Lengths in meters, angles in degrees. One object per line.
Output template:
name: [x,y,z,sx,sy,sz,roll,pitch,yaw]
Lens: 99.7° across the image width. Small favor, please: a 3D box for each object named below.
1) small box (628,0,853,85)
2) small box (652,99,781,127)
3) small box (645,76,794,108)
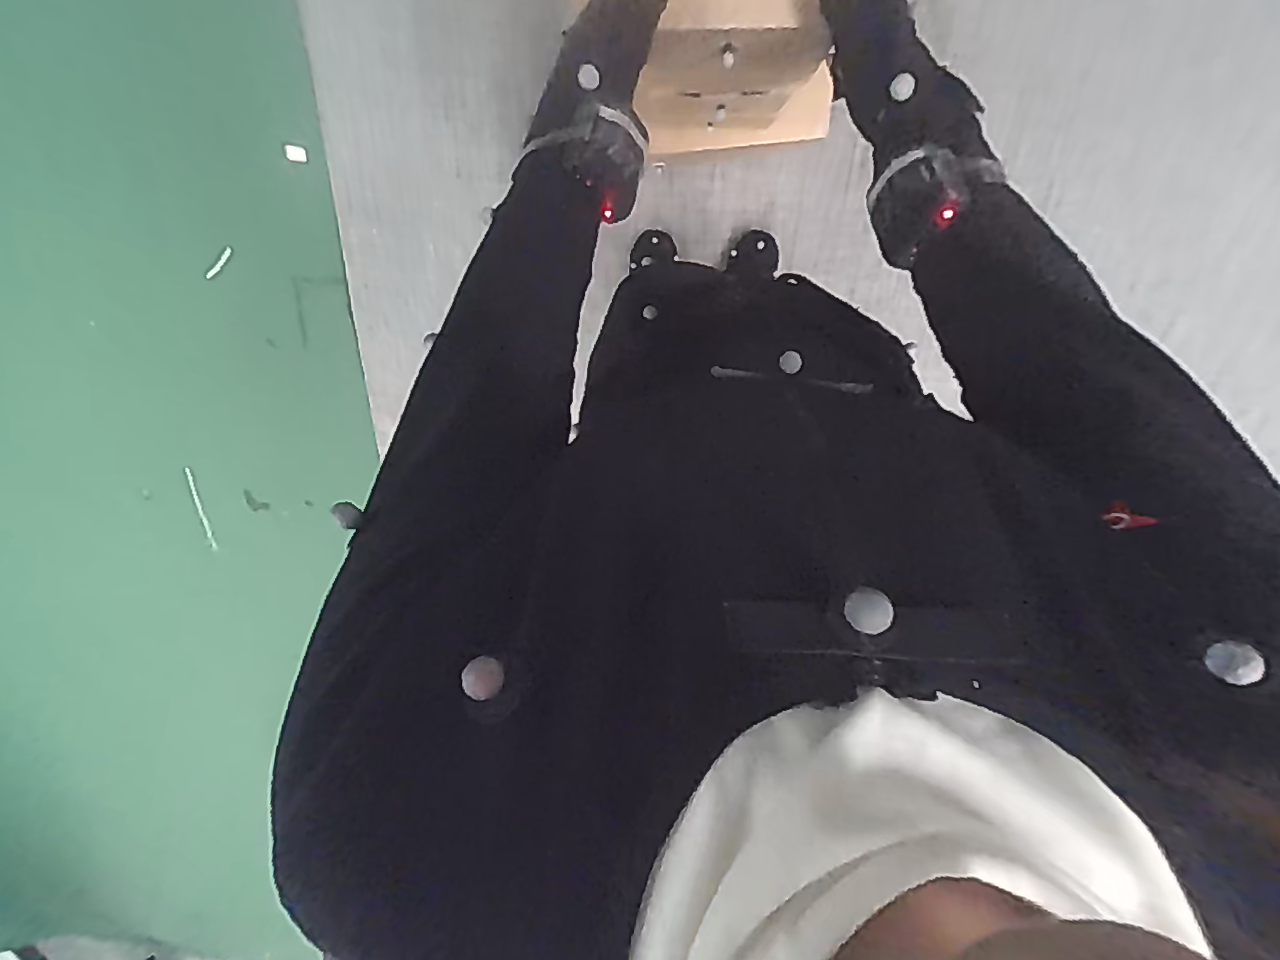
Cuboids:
small box: [0.084,-0.465,0.468,0.179,0.176,0.168,1,112,3]
small box: [0.114,-0.612,0.773,0.179,0.176,0.168,5,119,6]
small box: [0.098,-0.542,0.626,0.168,0.176,0.179,3,119,6]
